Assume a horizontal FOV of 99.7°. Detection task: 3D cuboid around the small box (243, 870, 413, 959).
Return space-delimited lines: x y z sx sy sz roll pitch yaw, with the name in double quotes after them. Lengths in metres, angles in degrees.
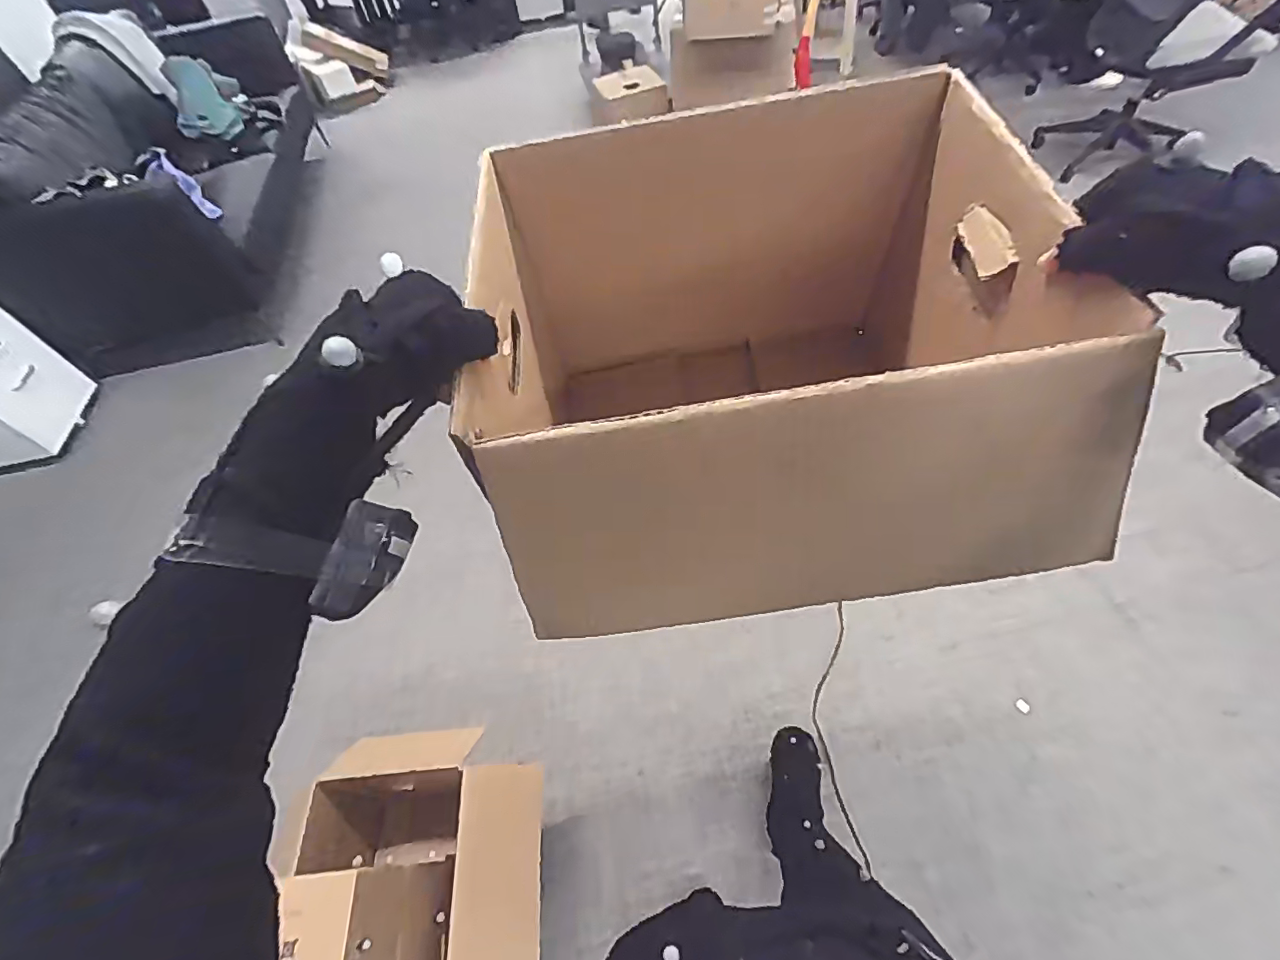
-0.460 0.704 0.809 0.168 0.176 0.179 -8 56 0 "small box"
